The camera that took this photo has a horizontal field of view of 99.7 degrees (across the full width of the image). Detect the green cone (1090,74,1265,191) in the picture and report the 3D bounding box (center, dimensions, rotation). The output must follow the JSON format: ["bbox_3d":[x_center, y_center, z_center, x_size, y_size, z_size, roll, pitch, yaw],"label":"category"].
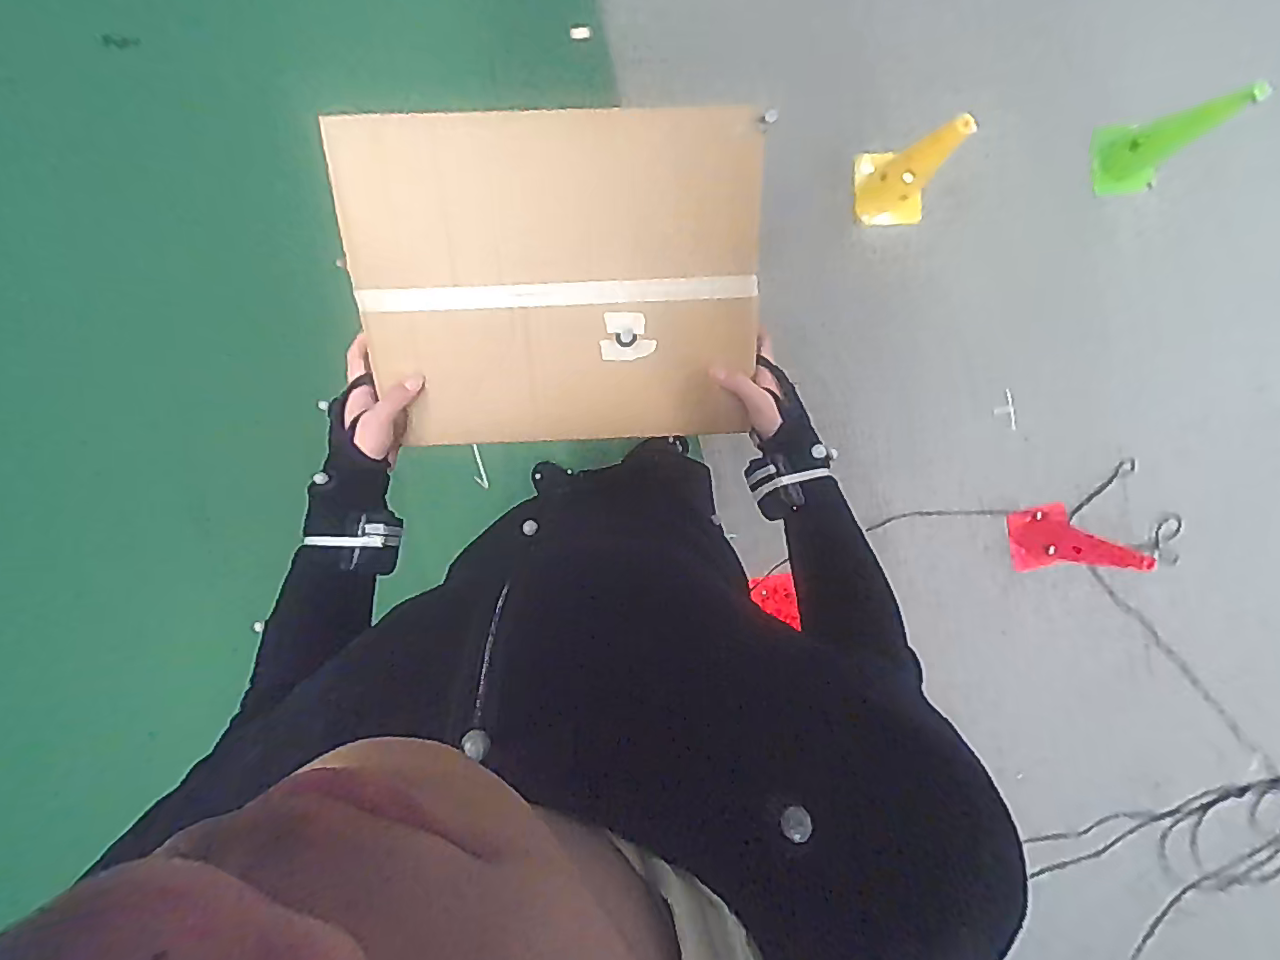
[{"bbox_3d":[1.480,-0.978,1.477,0.202,0.368,0.200,-8,96,-2],"label":"green cone"}]

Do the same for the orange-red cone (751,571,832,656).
[{"bbox_3d":[0.461,0.409,1.541,0.198,0.360,0.199,-6,98,-3],"label":"orange-red cone"}]

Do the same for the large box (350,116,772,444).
[{"bbox_3d":[-0.077,-0.245,0.697,0.408,0.320,0.320,-2,112,-2],"label":"large box"}]
